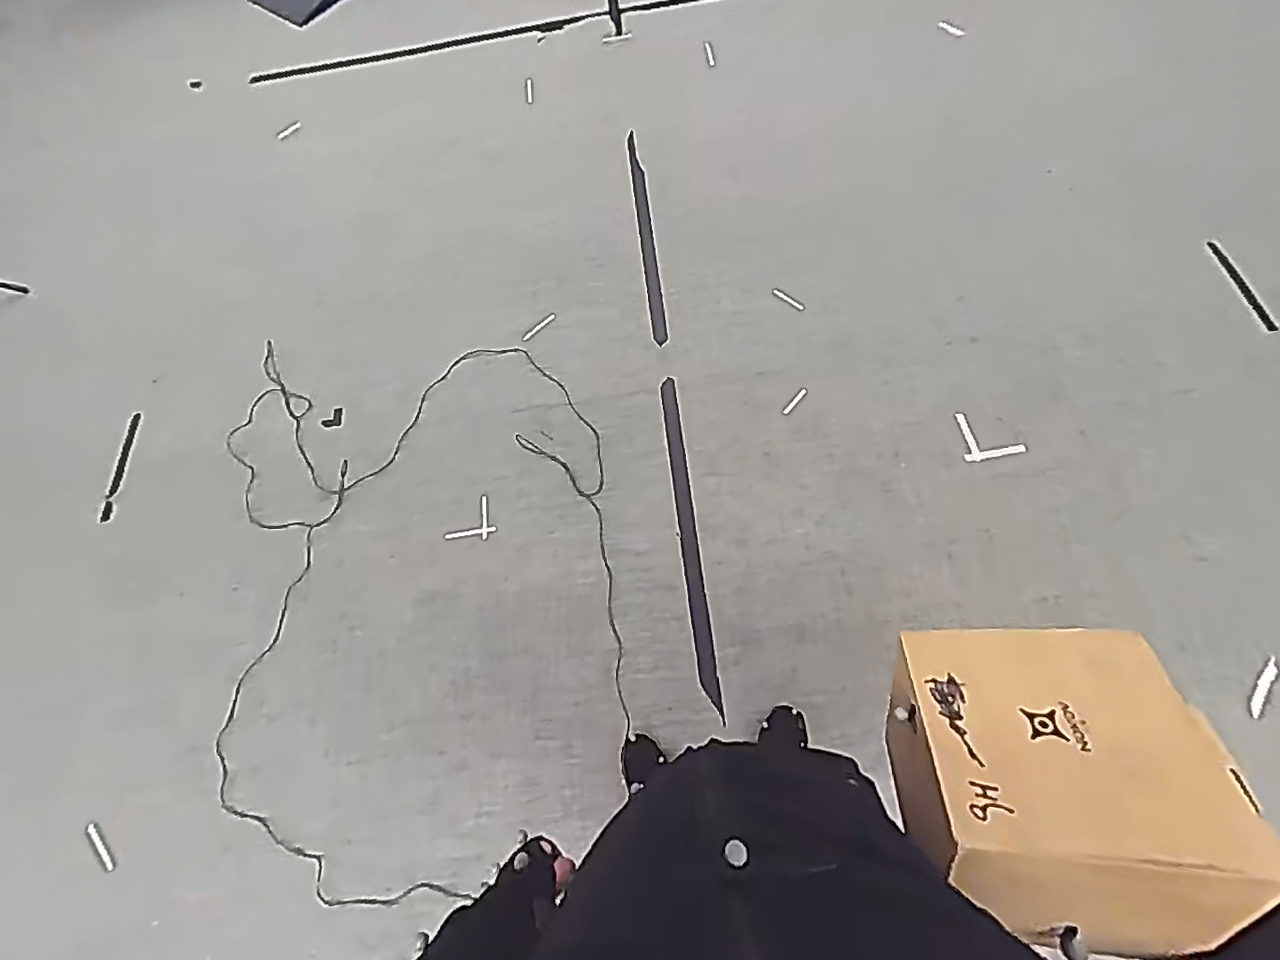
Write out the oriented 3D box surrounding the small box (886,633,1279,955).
[{"bbox_3d":[0.312,0.246,0.435,0.179,0.176,0.168,-2,35,14],"label":"small box"}]
